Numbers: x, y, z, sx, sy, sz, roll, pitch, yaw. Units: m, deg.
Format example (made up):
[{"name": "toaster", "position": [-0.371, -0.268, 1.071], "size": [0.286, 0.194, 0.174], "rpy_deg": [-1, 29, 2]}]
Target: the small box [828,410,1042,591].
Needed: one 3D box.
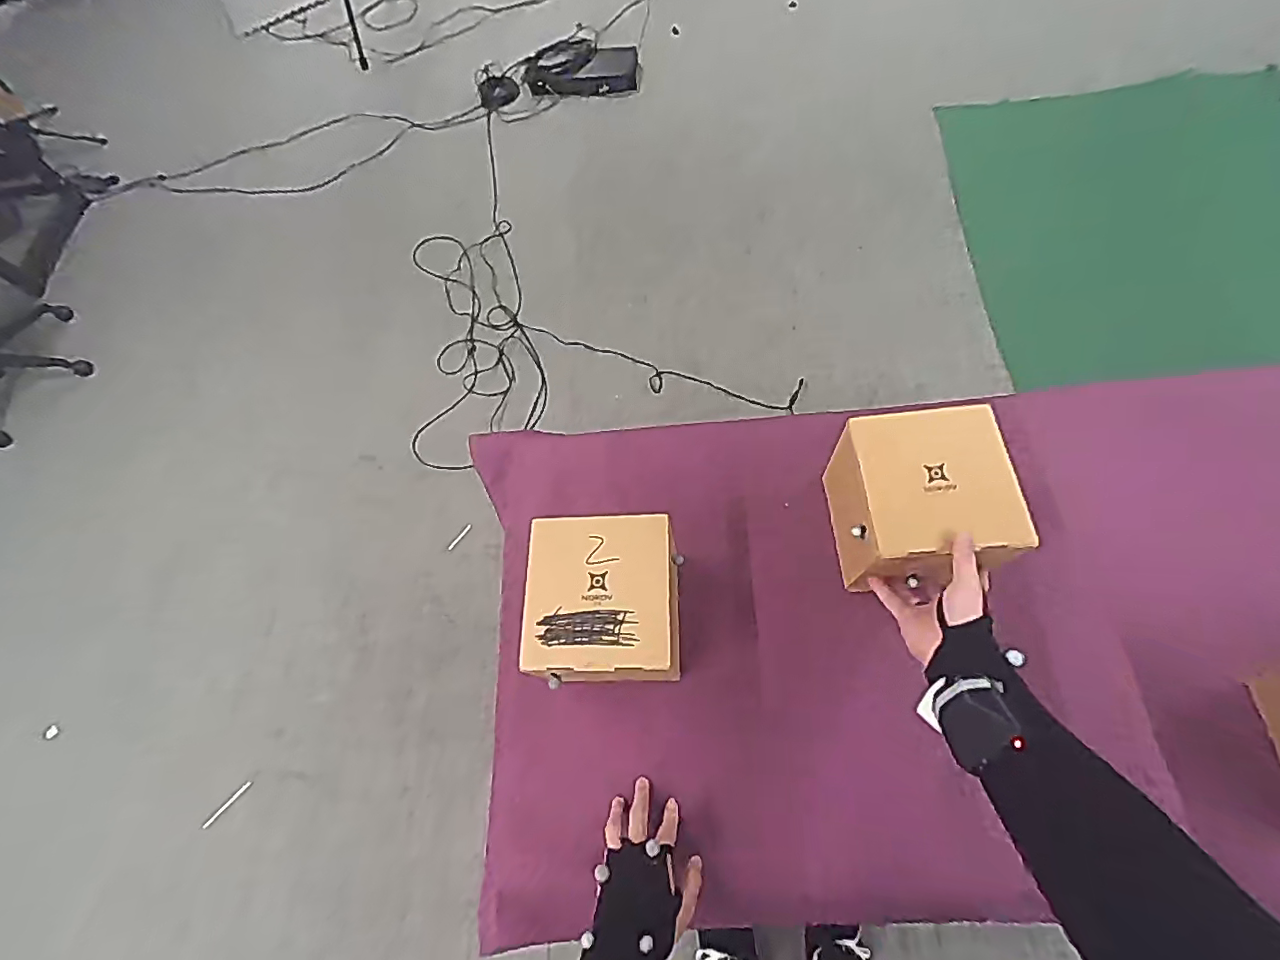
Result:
[{"name": "small box", "position": [0.349, 0.033, 0.683], "size": [0.168, 0.176, 0.179], "rpy_deg": [-5, 67, 5]}]
